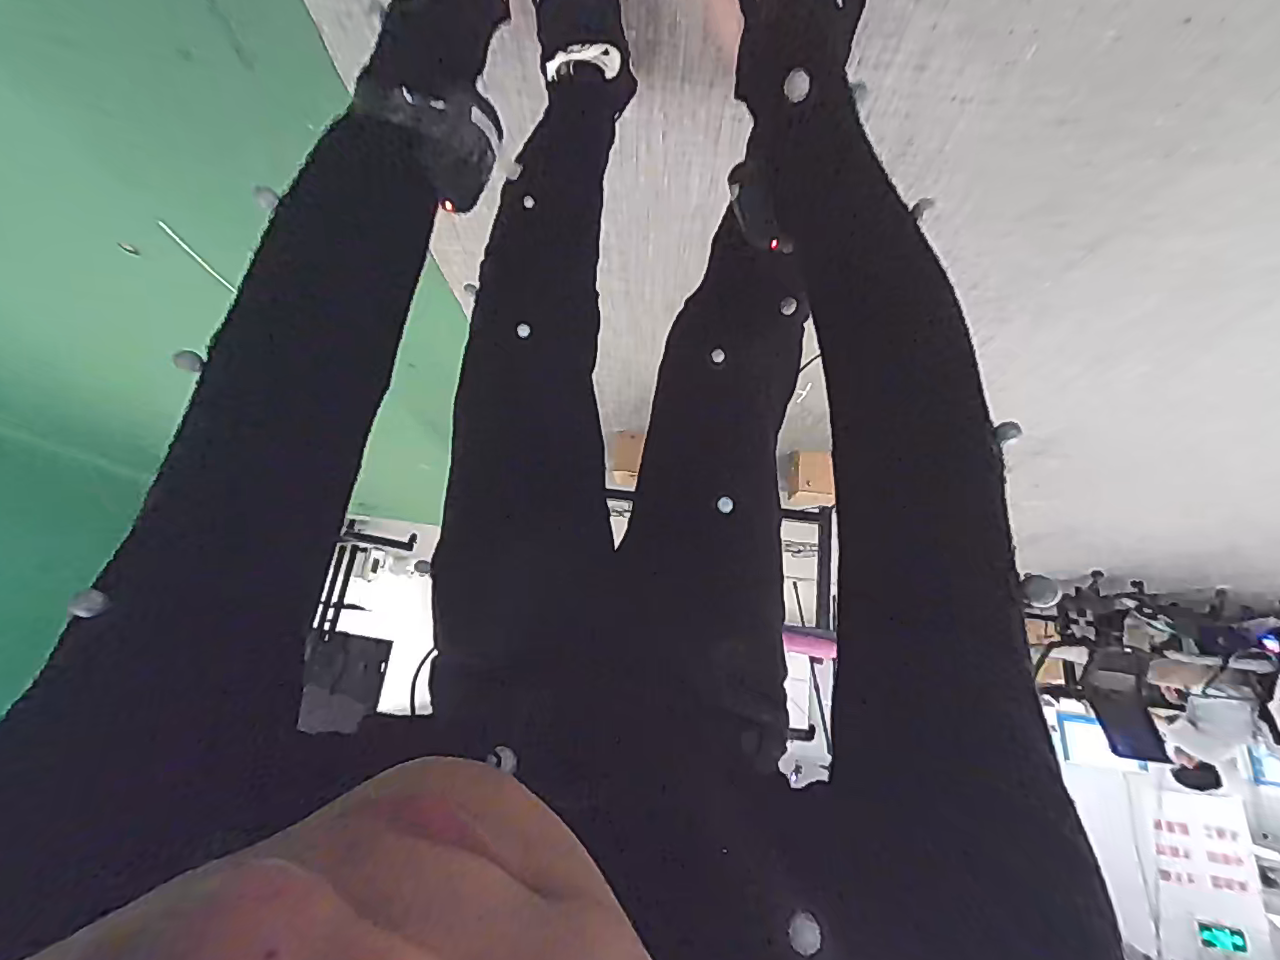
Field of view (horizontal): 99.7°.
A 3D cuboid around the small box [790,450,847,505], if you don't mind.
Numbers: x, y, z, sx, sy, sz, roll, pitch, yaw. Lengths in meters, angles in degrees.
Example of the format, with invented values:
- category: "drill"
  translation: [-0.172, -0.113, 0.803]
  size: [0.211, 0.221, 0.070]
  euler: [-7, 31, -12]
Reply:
- category: "small box"
  translation: [0.699, -0.009, 2.122]
  size: [0.179, 0.176, 0.168]
  euler: [7, 163, 3]

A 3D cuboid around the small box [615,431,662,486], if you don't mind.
- category: "small box"
  translation: [-0.004, -0.088, 2.165]
  size: [0.168, 0.176, 0.179]
  euler: [6, 164, 6]
